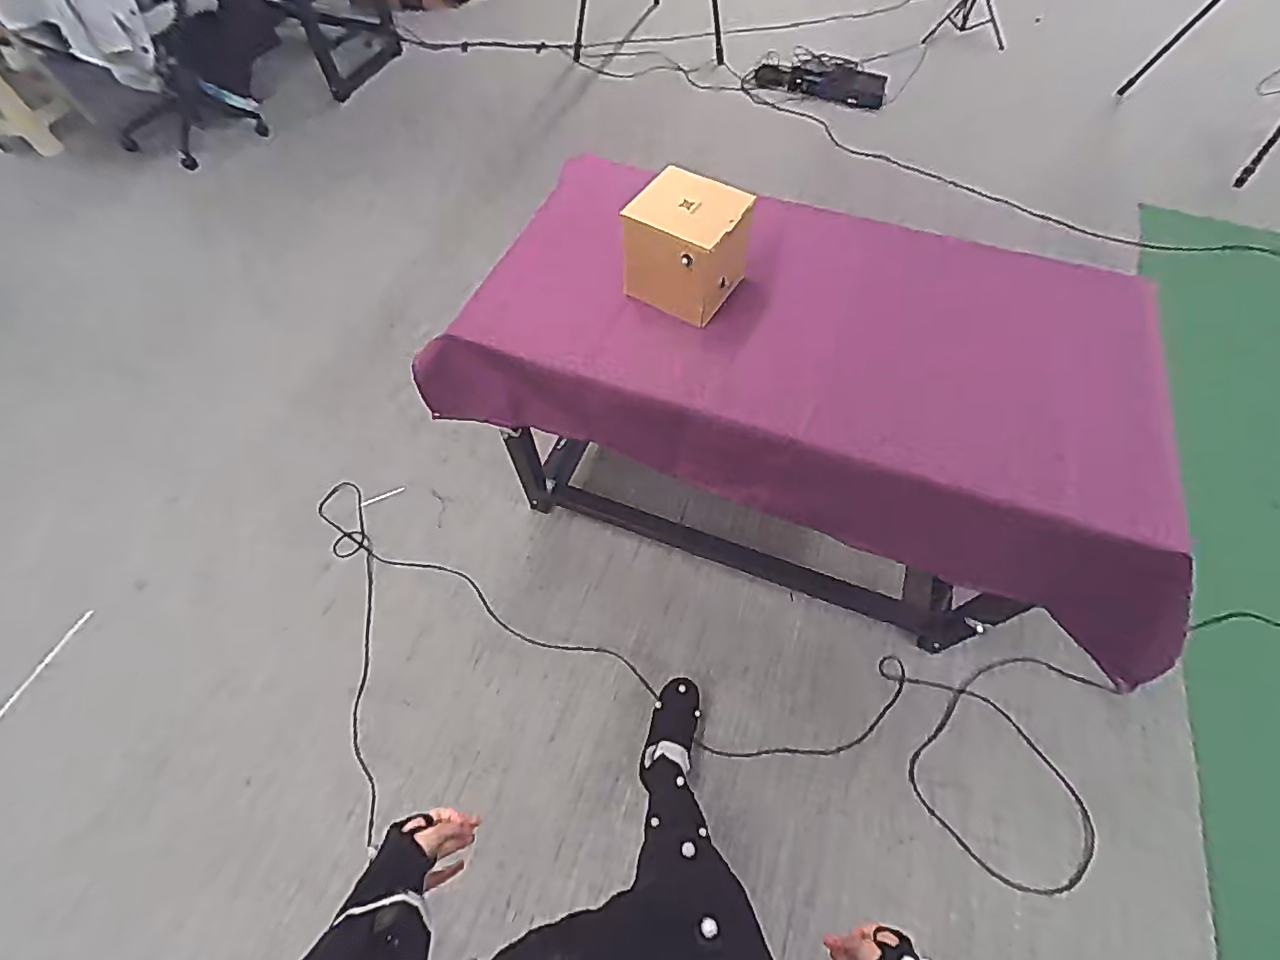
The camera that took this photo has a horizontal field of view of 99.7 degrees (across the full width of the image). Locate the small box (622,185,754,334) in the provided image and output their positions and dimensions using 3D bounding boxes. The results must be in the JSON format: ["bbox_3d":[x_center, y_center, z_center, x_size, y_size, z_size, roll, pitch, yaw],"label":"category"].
[{"bbox_3d":[0.082,-0.400,0.994,0.179,0.176,0.168,29,63,16],"label":"small box"}]
